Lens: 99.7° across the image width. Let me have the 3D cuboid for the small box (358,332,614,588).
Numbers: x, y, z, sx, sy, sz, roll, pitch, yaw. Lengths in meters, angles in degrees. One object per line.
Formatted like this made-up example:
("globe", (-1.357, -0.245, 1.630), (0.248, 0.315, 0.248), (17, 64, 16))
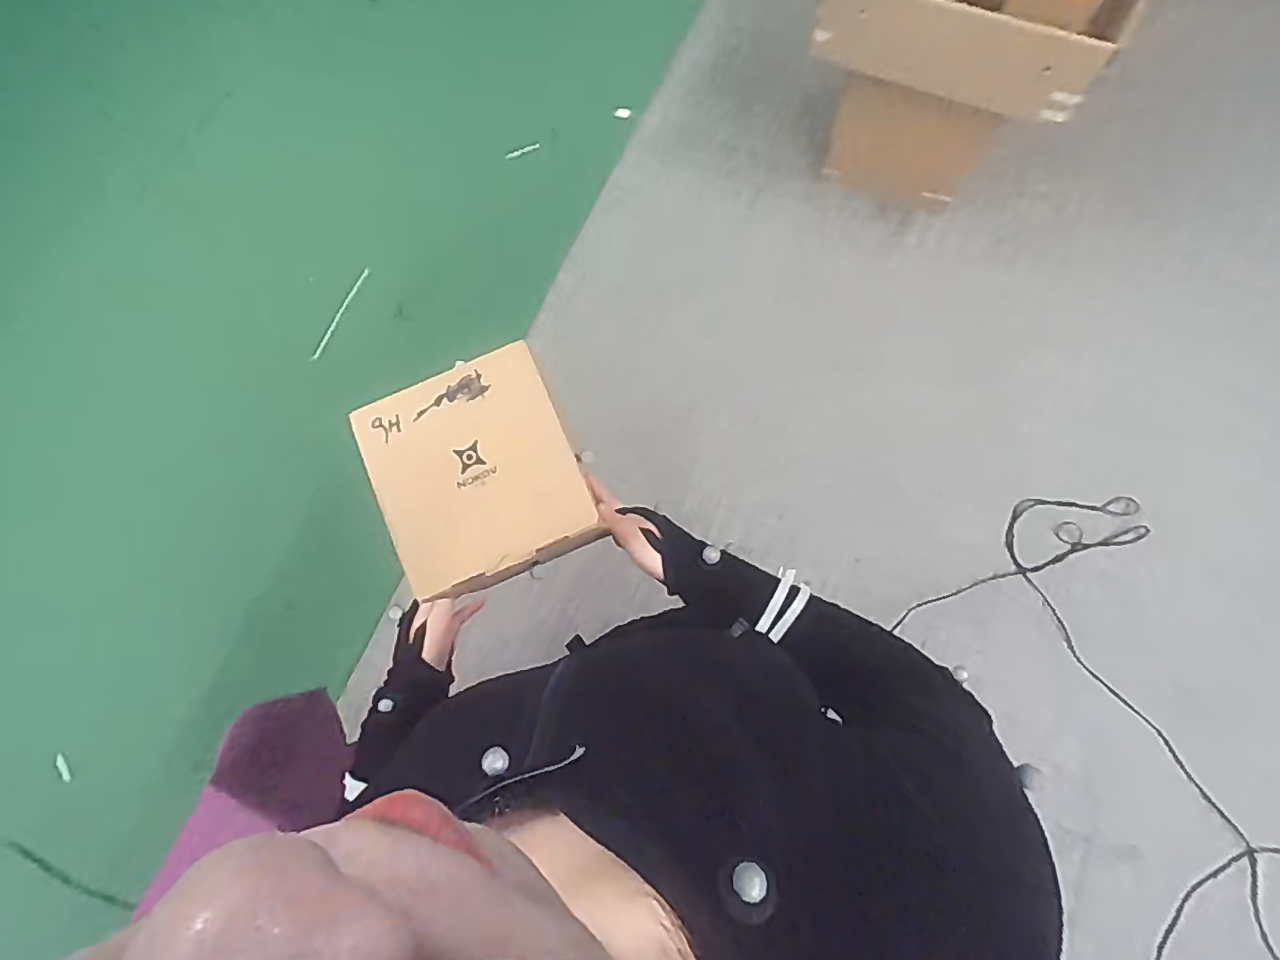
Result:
("small box", (-0.133, -0.011, 0.532), (0.168, 0.176, 0.179), (-22, 83, -1))
